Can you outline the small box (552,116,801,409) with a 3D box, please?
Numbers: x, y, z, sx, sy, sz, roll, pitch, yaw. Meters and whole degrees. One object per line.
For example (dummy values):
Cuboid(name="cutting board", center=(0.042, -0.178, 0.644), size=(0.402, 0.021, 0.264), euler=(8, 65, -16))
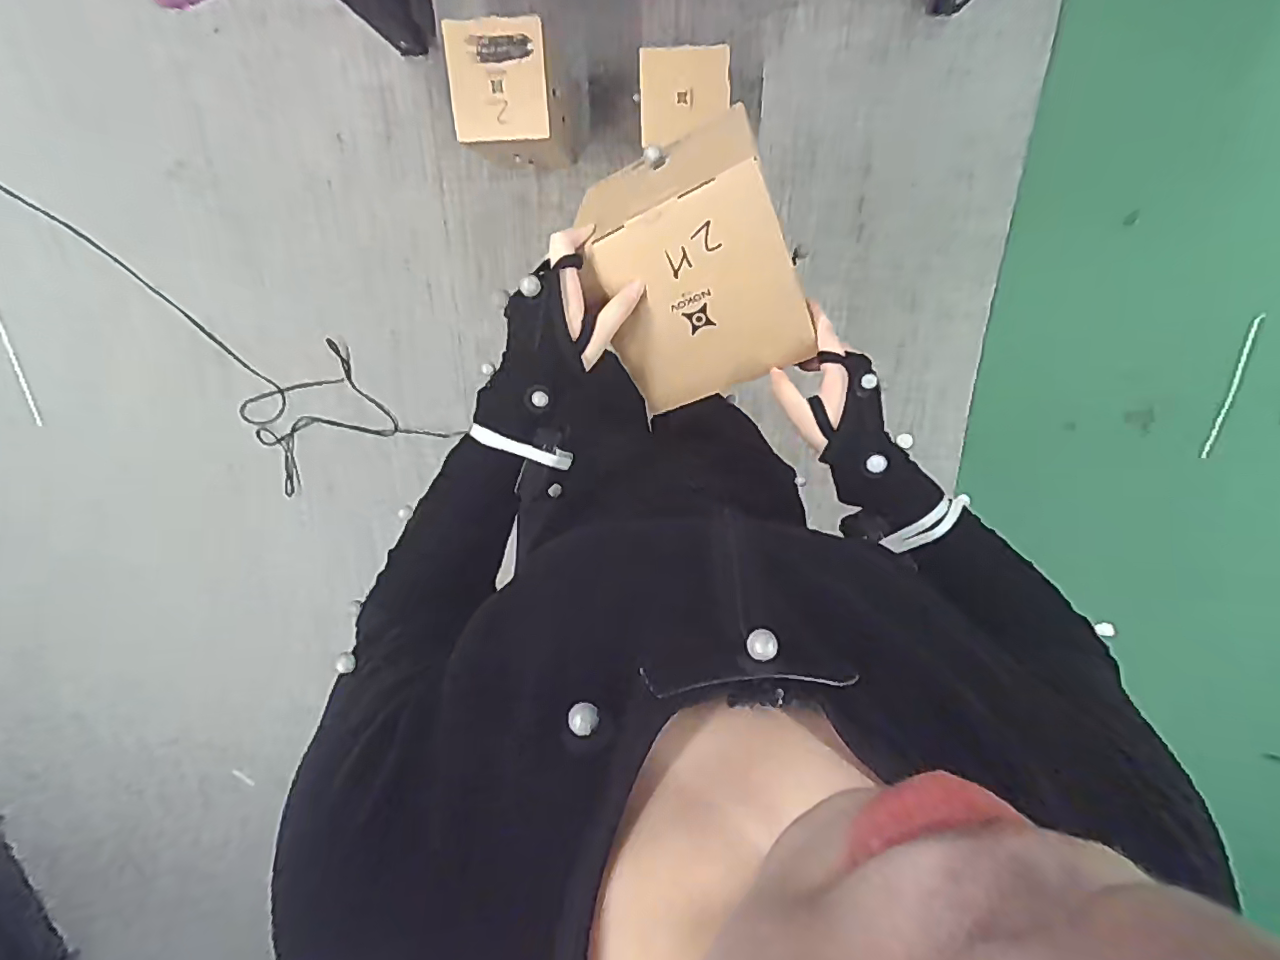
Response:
Cuboid(name="small box", center=(0.044, -0.204, 0.518), size=(0.168, 0.176, 0.179), euler=(-17, 131, 22))
